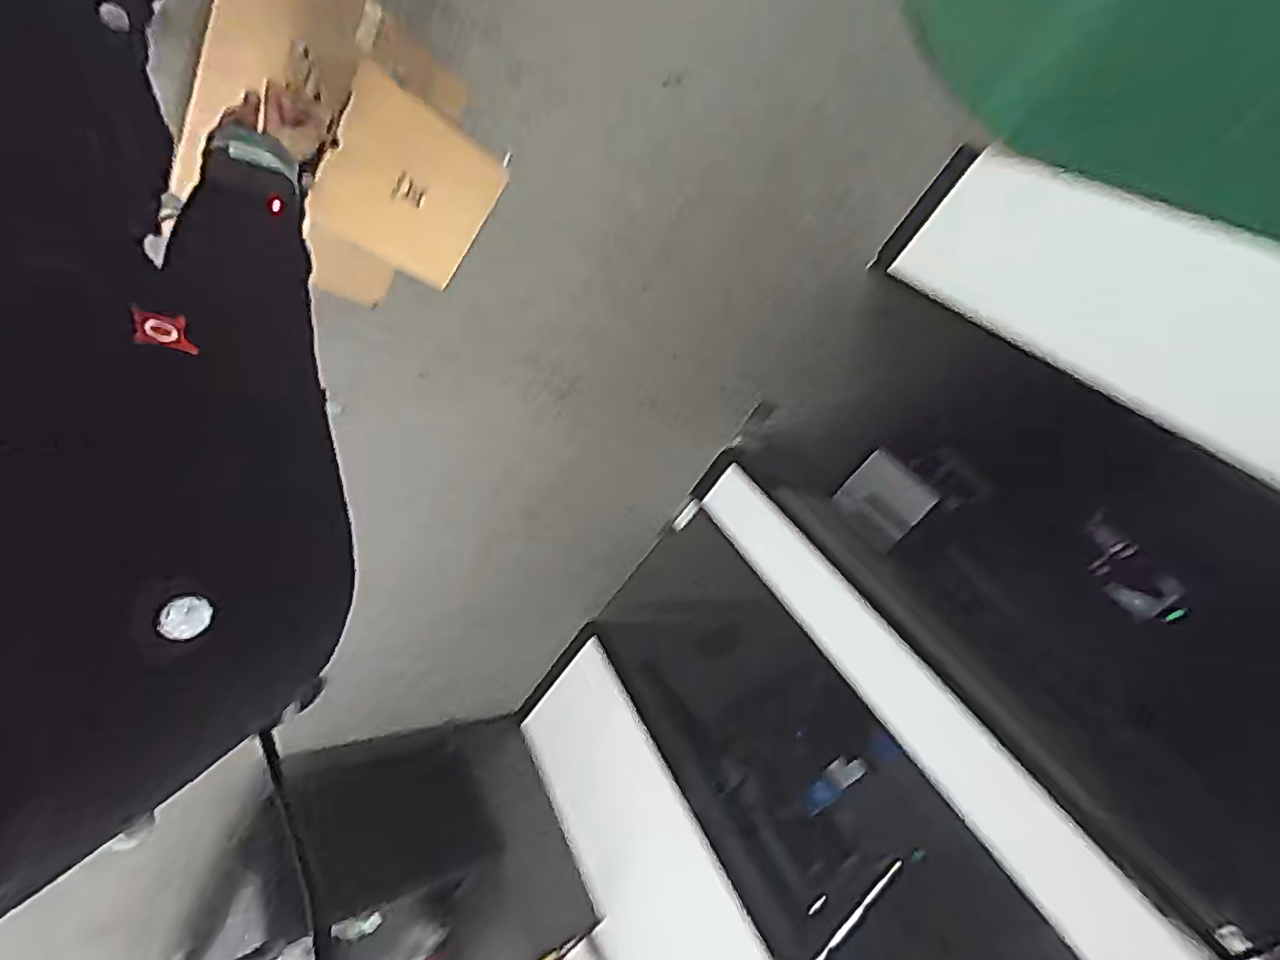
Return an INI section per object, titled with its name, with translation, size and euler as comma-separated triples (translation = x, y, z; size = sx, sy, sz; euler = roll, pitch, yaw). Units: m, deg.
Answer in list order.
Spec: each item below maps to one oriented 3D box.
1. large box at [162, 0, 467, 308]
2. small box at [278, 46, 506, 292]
[large box]
translation = -0.550, -0.580, 0.896
size = 0.320, 0.320, 0.408
euler = 12, 123, -46
[small box]
translation = -0.298, -0.367, 0.645
size = 0.168, 0.176, 0.179
euler = -50, 143, 18
